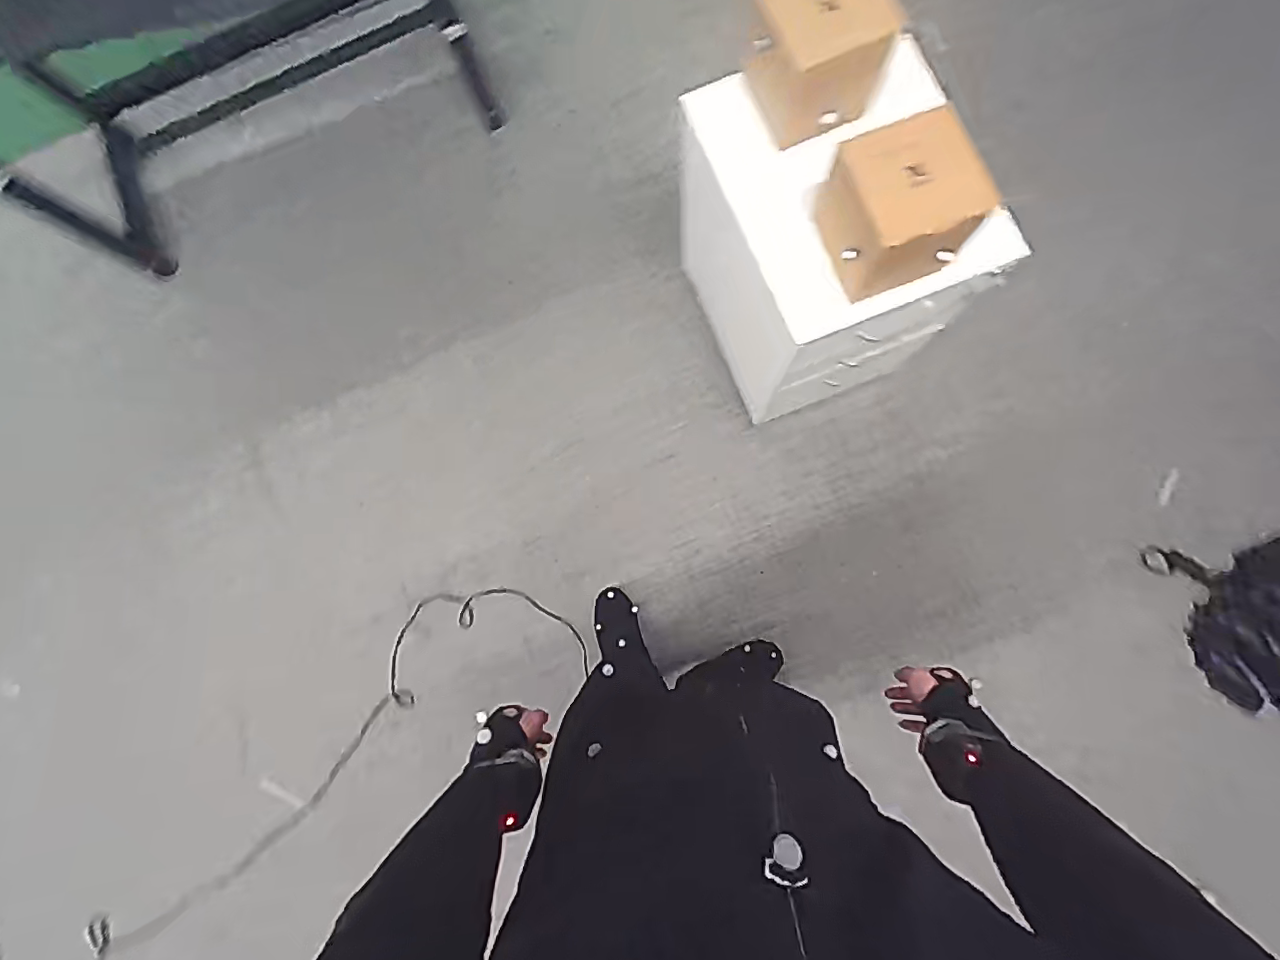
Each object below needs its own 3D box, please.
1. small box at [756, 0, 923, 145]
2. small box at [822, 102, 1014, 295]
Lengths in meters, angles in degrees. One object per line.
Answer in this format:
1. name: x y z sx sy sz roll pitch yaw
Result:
1. small box: 0.296 -0.679 0.845 0.168 0.176 0.179 -21 84 1
2. small box: 0.397 -0.400 0.805 0.168 0.176 0.179 -19 80 0
